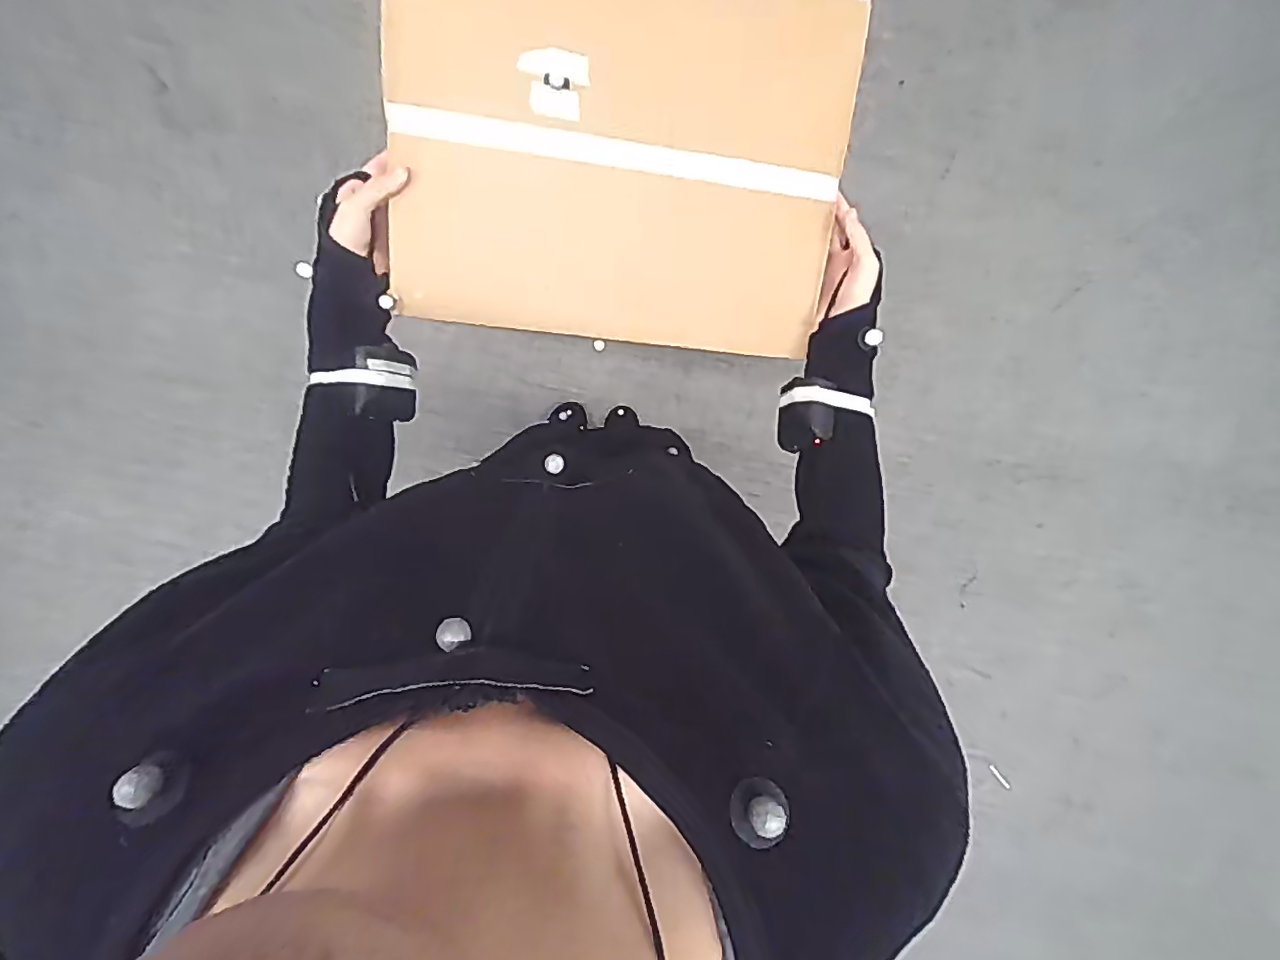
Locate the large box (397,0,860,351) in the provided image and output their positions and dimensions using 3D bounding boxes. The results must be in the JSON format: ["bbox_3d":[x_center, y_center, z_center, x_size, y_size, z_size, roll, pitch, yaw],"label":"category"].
[{"bbox_3d":[-0.028,-0.333,0.634,0.408,0.320,0.320,3,105,-9],"label":"large box"}]
